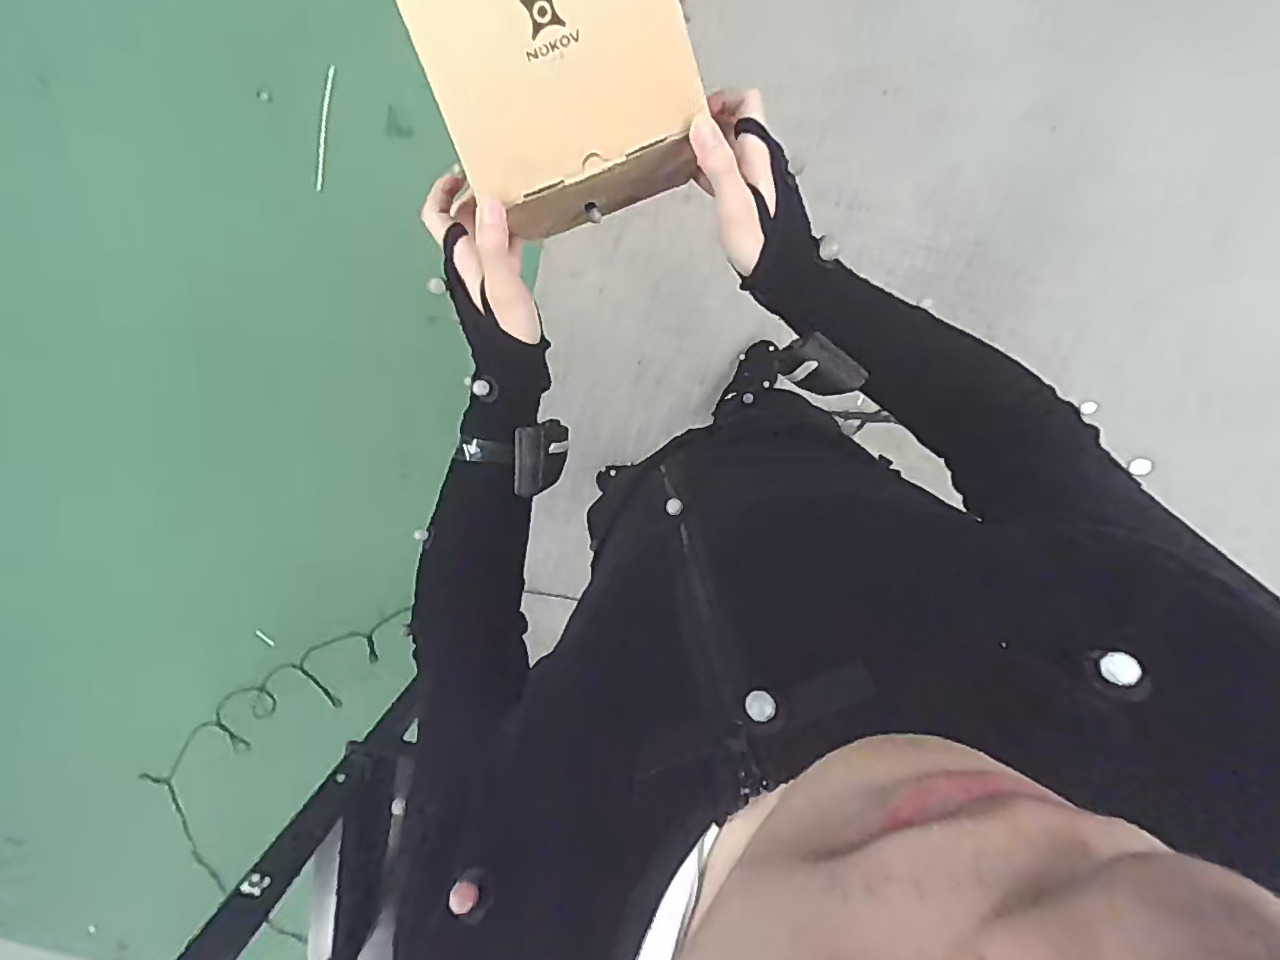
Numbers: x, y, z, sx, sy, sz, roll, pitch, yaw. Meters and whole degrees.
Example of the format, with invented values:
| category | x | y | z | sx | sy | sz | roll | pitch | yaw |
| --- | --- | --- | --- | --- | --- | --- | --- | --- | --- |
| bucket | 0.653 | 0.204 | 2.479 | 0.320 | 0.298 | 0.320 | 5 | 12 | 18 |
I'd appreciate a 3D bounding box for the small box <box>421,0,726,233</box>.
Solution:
| category | x | y | z | sx | sy | sz | roll | pitch | yaw |
| --- | --- | --- | --- | --- | --- | --- | --- | --- | --- |
| small box | -0.048 | -0.311 | 0.411 | 0.168 | 0.176 | 0.179 | -18 | 108 | 6 |
